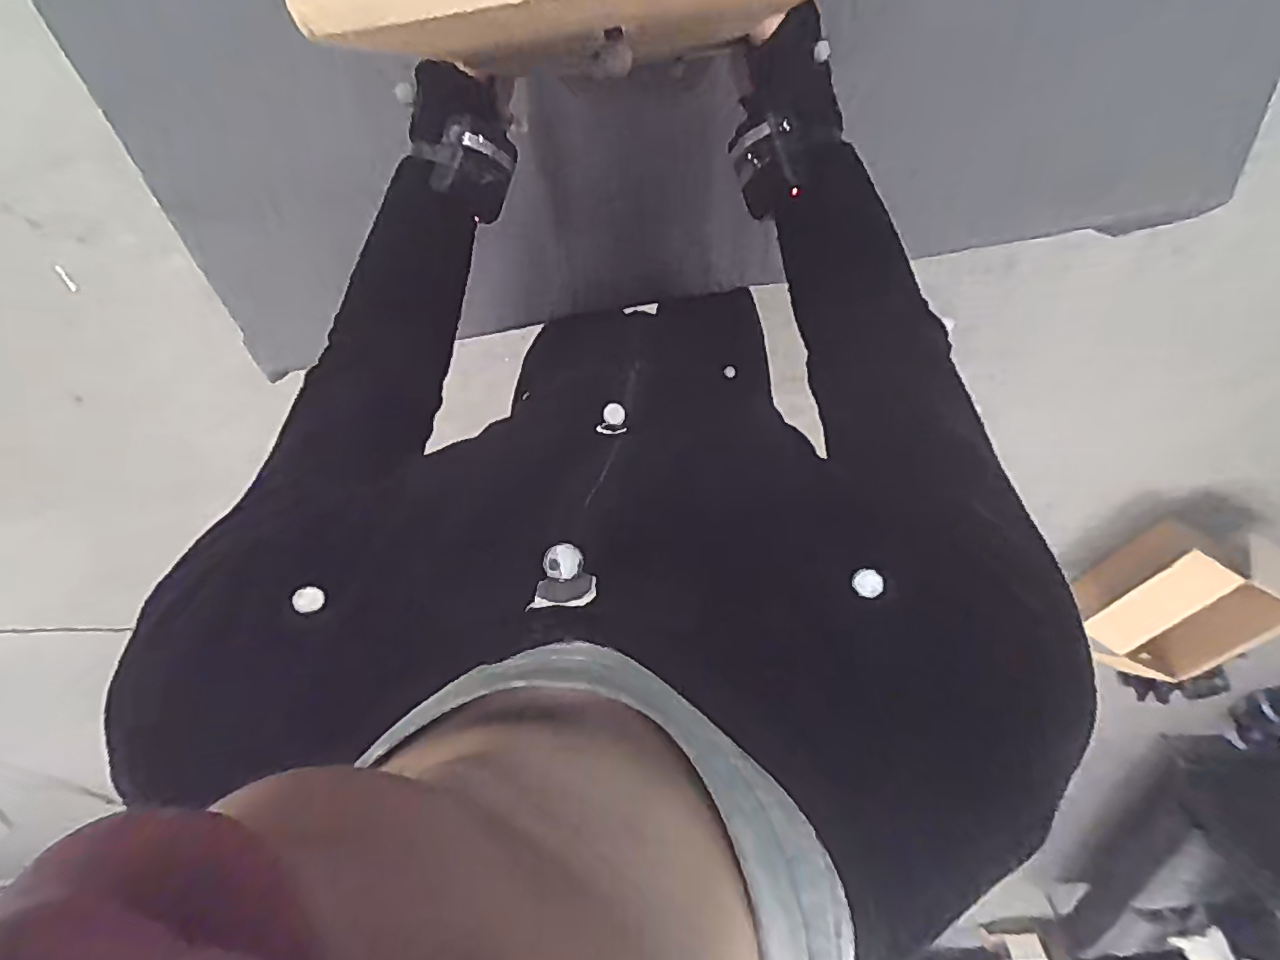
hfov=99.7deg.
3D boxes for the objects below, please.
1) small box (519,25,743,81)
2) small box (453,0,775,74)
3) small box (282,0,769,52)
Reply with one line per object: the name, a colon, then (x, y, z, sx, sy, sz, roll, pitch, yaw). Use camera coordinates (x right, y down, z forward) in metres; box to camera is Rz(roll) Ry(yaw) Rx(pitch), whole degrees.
small box: (-0.014, -0.435, 0.437, 0.179, 0.176, 0.168, -4, 124, 6)
small box: (-0.022, -0.342, 0.301, 0.179, 0.176, 0.168, -5, 124, 5)
small box: (-0.023, -0.250, 0.166, 0.179, 0.176, 0.168, -5, 125, 4)
